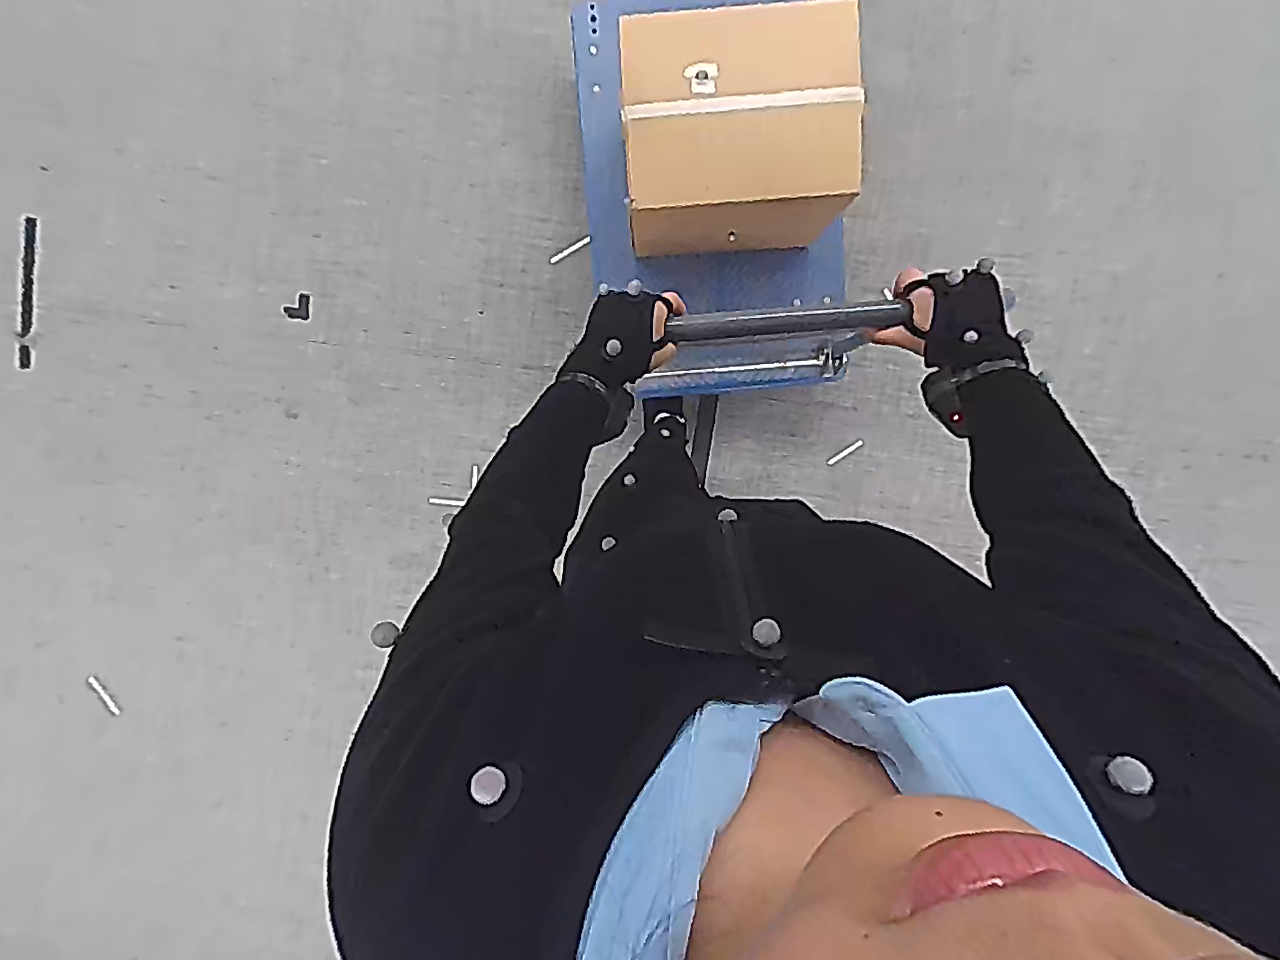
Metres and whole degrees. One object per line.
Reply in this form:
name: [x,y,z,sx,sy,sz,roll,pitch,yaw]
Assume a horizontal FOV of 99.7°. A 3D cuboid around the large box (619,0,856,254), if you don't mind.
large box: [0.180,-0.672,1.094,0.408,0.320,0.320,-4,96,3]
